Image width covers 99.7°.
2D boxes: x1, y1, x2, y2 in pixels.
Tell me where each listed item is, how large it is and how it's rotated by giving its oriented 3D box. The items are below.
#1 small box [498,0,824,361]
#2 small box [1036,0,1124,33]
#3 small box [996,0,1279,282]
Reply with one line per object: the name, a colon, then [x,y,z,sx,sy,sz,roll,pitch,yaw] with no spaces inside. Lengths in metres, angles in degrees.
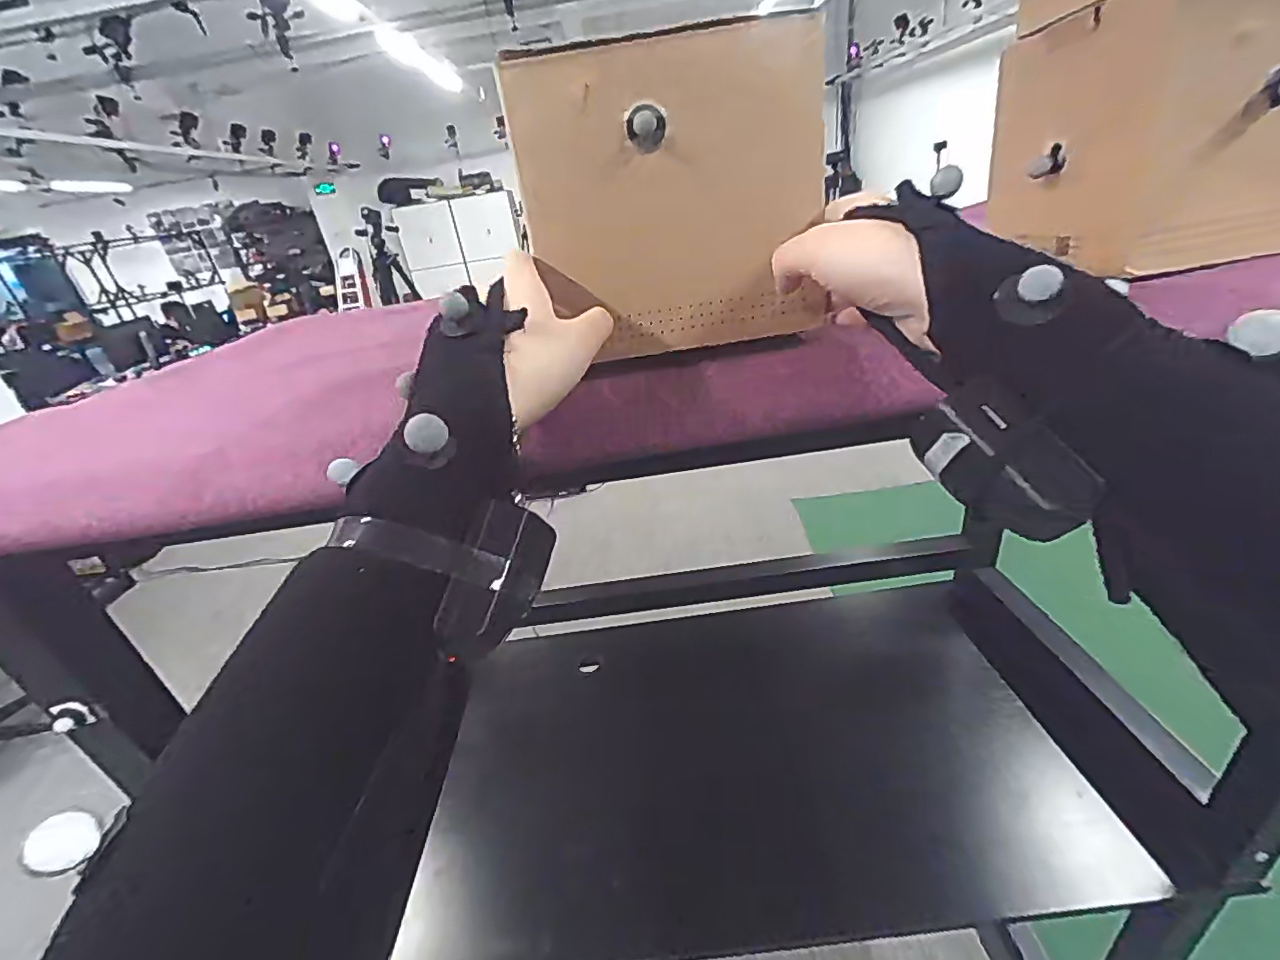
small box: [0.020,-0.187,0.383,0.179,0.176,0.168,-8,23,1]
small box: [0.365,-0.389,0.311,0.179,0.176,0.168,-9,25,3]
small box: [0.391,-0.249,0.393,0.179,0.176,0.168,-9,26,3]
